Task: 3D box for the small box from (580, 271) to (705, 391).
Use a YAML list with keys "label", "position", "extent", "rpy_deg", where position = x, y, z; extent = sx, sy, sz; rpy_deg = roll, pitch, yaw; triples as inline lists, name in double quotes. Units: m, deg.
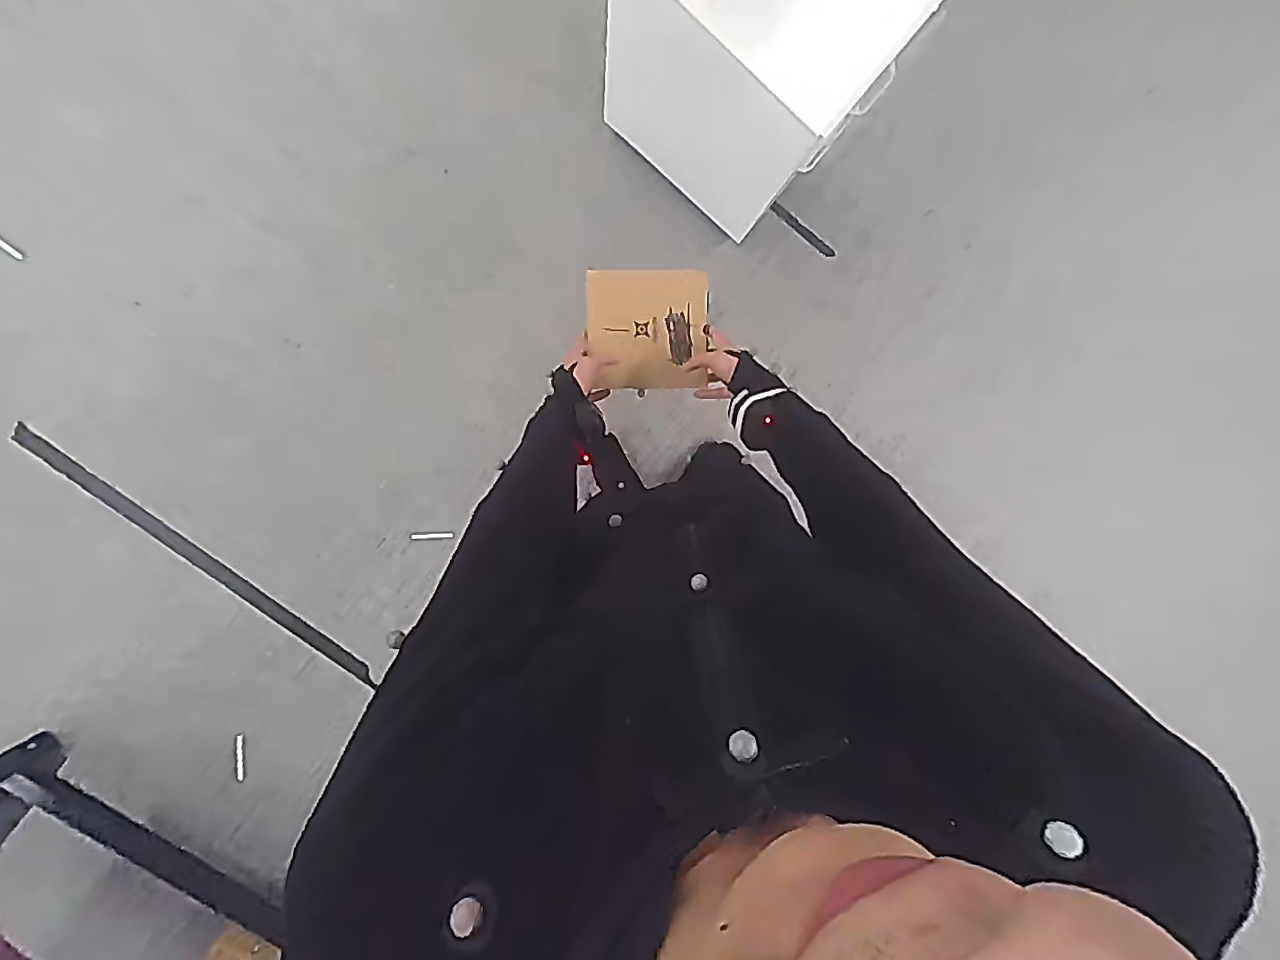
- label: "small box"
  position: [0.003, -0.226, 0.842]
  extent: [0.179, 0.176, 0.168]
  rpy_deg: [-1, 101, 0]
